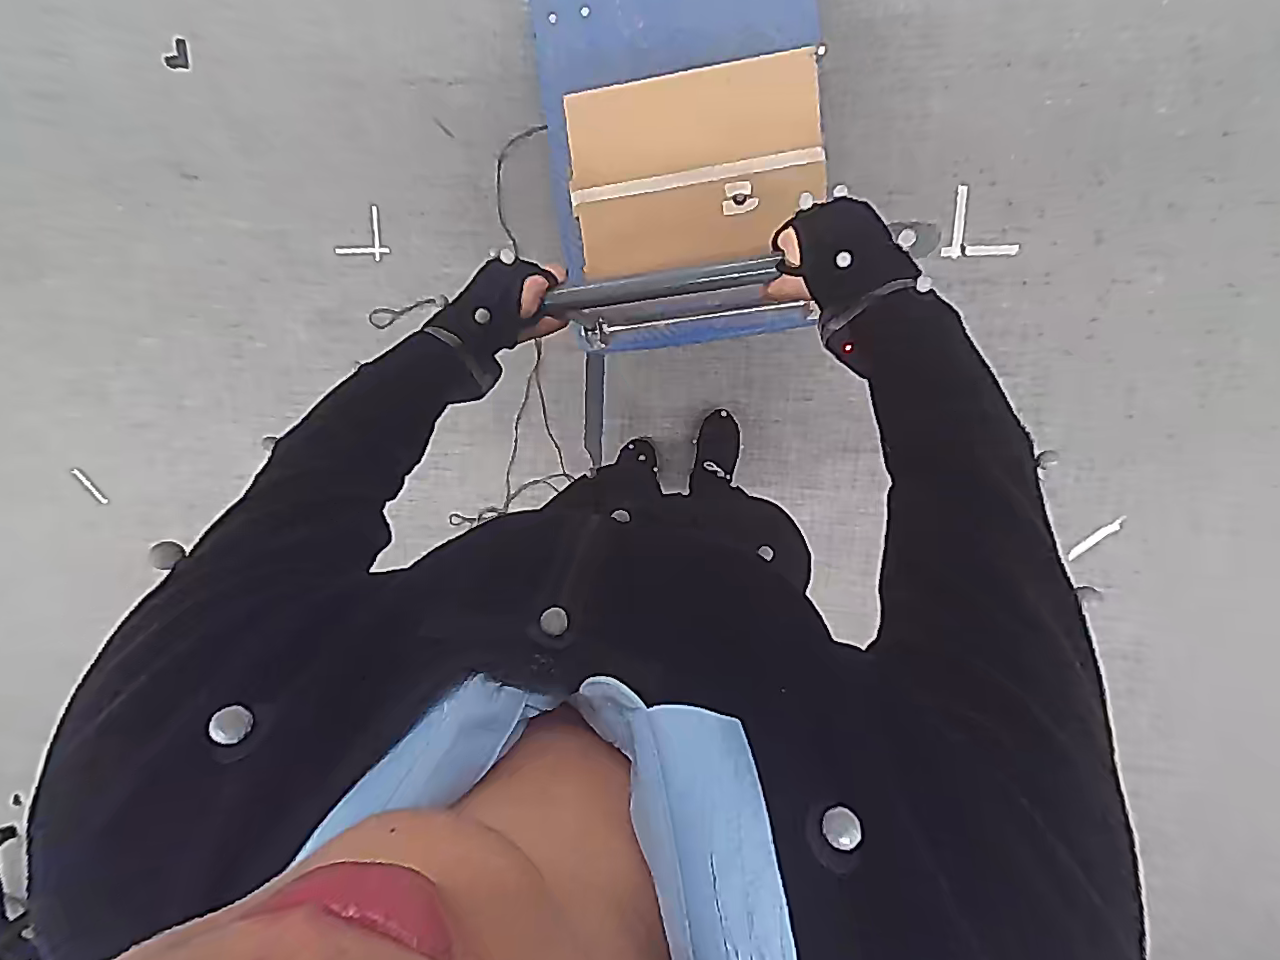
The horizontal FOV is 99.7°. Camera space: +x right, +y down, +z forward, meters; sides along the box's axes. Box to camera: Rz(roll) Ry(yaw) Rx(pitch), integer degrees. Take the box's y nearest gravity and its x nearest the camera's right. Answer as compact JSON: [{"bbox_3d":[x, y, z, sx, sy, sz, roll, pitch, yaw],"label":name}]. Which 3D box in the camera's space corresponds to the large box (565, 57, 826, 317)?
[{"bbox_3d":[0.105,-0.511,1.031,0.408,0.320,0.320,-6,101,7],"label":"large box"}]
